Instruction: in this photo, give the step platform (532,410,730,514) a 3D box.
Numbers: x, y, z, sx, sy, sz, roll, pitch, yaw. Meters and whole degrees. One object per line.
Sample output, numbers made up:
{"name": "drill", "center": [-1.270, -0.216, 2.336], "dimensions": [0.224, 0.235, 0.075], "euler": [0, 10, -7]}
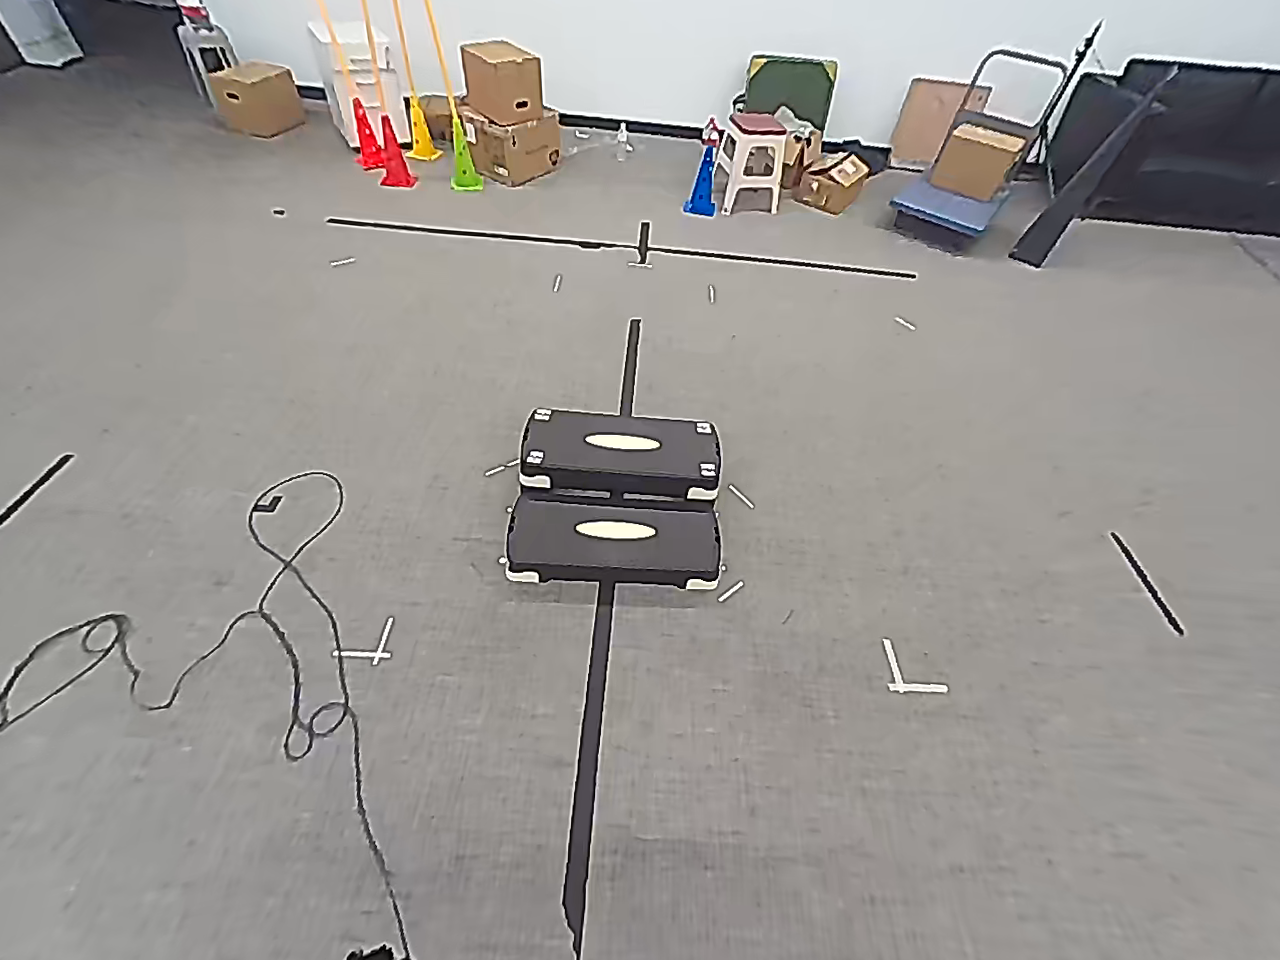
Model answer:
{"name": "step platform", "center": [-0.030, -0.068, 1.891], "dimensions": [0.684, 0.204, 0.286], "euler": [5, 49, -4]}
